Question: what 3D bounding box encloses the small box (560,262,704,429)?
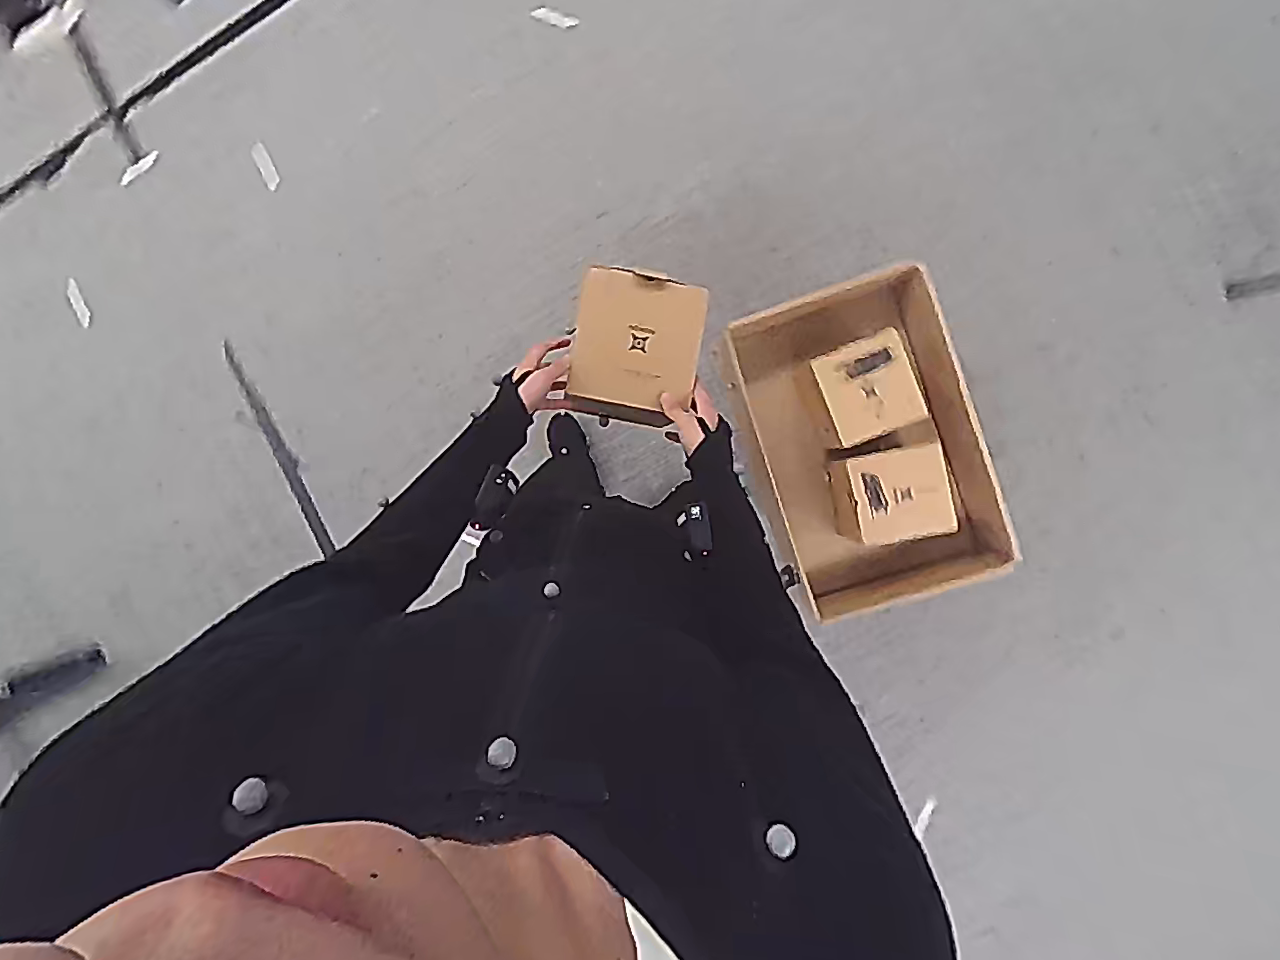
[{"bbox_3d":[-0.021,-0.179,0.776,0.168,0.176,0.179,9,88,-10],"label":"small box"}]
